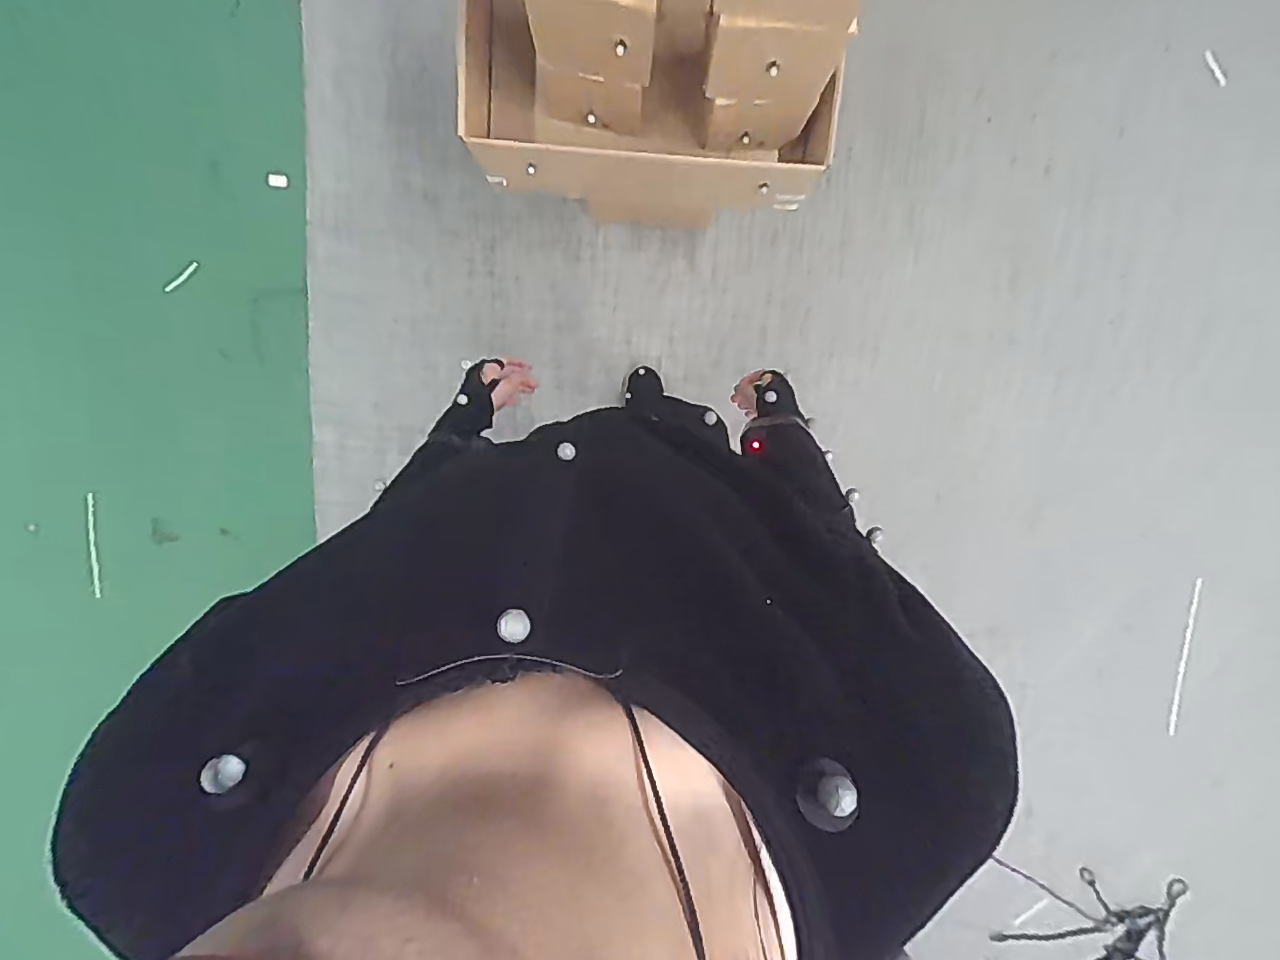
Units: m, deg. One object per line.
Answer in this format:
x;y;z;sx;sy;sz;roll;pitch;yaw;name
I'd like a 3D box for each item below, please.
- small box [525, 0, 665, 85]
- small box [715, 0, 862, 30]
-0.052;-0.691;0.746;0.179;0.176;0.168;11;96;-4;small box
0.186;-0.635;0.584;0.179;0.176;0.168;8;98;1;small box
